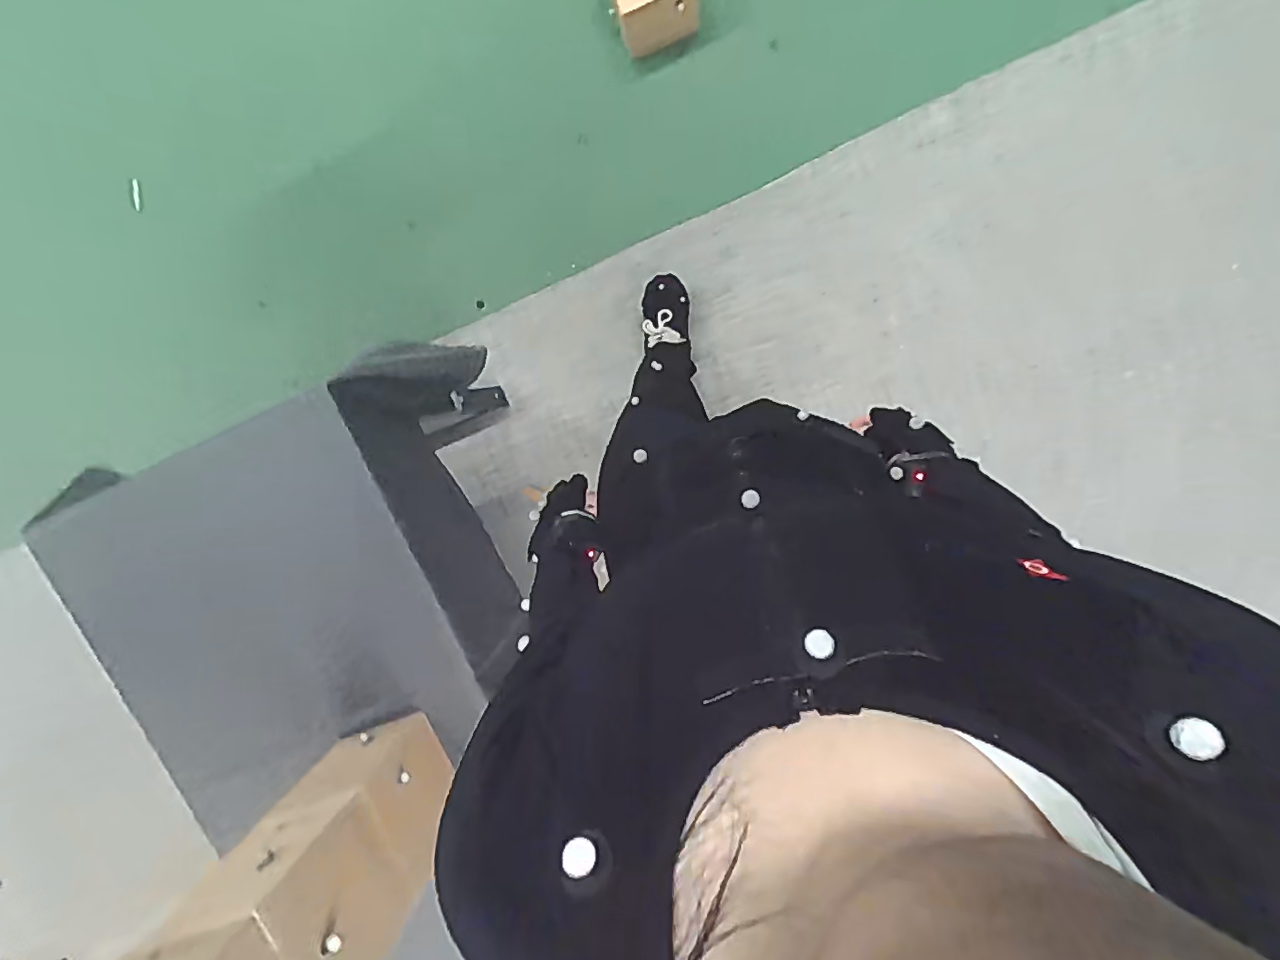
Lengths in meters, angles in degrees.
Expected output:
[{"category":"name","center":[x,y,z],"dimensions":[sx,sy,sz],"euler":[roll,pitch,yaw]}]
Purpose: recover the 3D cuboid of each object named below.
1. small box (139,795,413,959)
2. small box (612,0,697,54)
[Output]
[{"category":"small box","center":[-0.412,0.513,0.644],"dimensions":[0.168,0.176,0.179],"euler":[-23,98,10]},{"category":"small box","center":[0.022,-1.100,1.192],"dimensions":[0.179,0.176,0.168],"euler":[-18,98,10]}]
